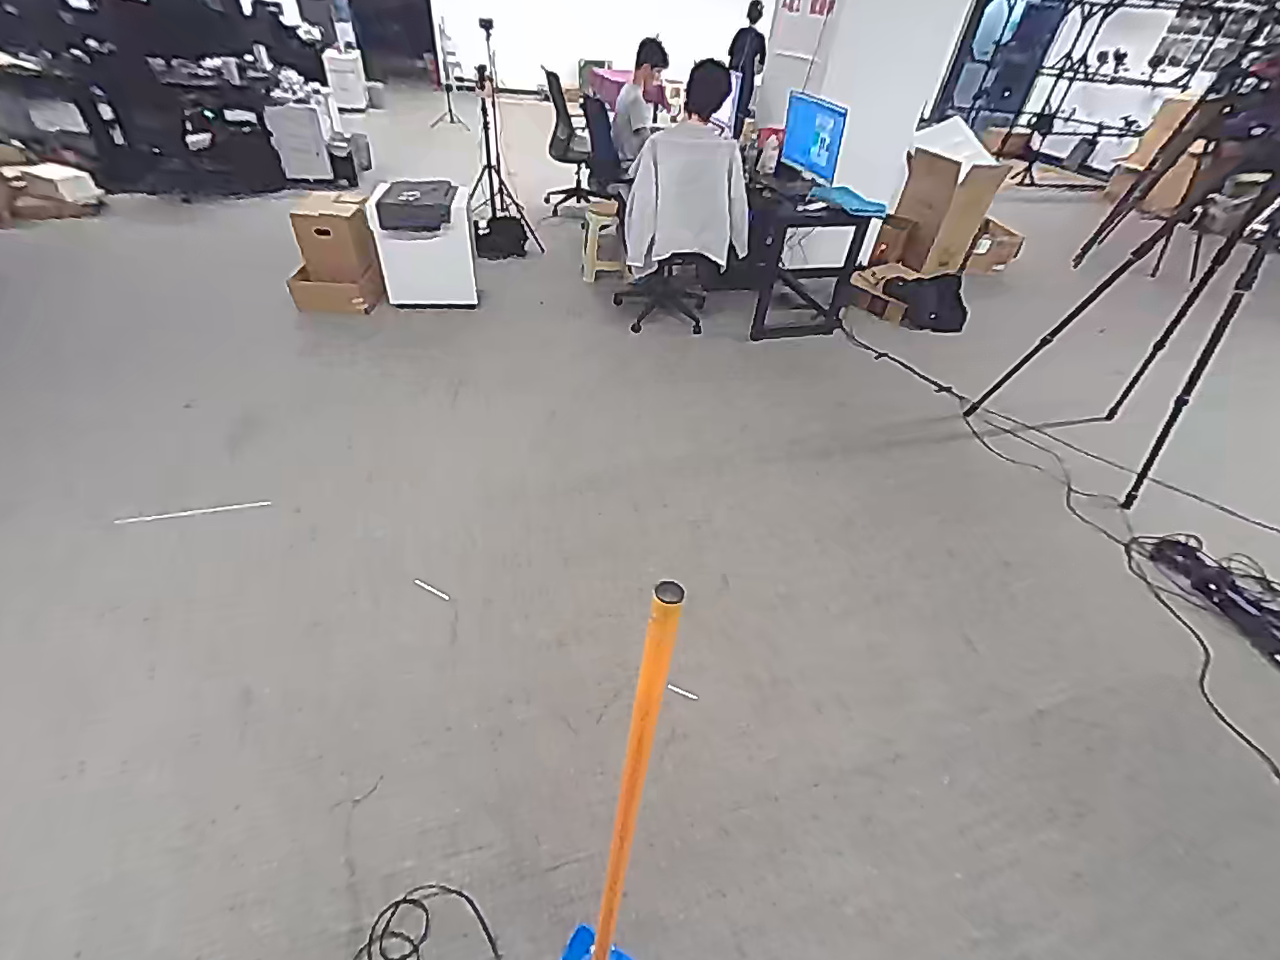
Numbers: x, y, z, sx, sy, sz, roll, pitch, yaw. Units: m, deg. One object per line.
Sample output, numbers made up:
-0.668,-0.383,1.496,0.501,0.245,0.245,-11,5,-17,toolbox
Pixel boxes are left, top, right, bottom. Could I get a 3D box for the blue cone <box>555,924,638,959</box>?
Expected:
-0.083,0.915,0.985,0.192,0.380,0.193,22,42,18,blue cone
